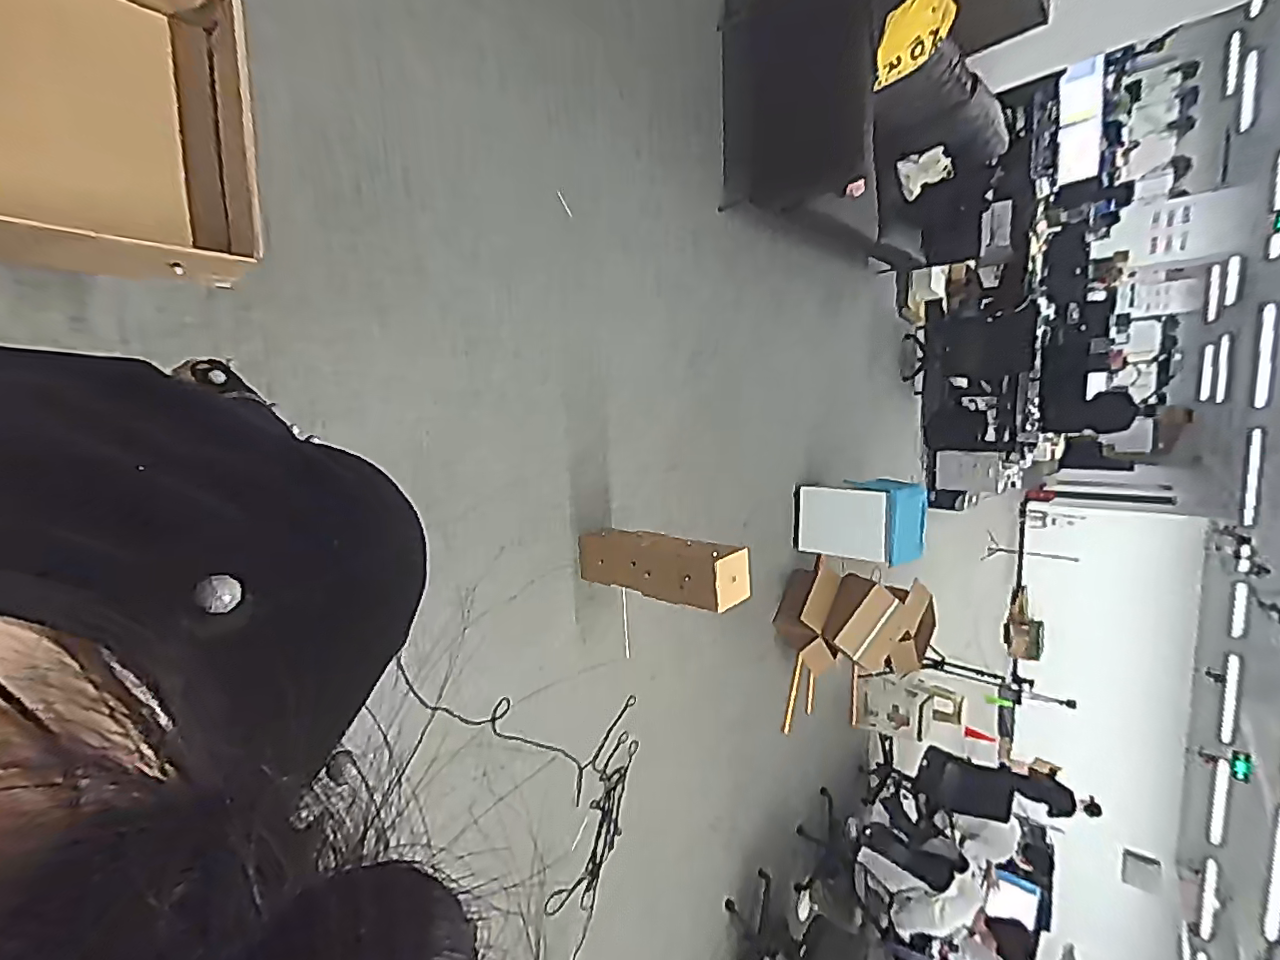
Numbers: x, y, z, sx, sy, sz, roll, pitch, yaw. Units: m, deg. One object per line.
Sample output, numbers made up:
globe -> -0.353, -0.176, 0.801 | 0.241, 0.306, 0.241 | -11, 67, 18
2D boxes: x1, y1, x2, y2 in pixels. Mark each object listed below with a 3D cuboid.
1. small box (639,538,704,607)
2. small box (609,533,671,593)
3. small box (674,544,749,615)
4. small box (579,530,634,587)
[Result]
small box -> 0.111, 0.306, 1.836 | 0.168, 0.176, 0.179 | -13, 103, -46
small box -> 0.001, 0.292, 1.957 | 0.168, 0.176, 0.179 | -10, 100, -45
small box -> 0.228, 0.309, 1.722 | 0.179, 0.176, 0.168 | -13, 101, -45
small box -> -0.120, 0.293, 2.069 | 0.168, 0.176, 0.179 | -10, 101, -46
